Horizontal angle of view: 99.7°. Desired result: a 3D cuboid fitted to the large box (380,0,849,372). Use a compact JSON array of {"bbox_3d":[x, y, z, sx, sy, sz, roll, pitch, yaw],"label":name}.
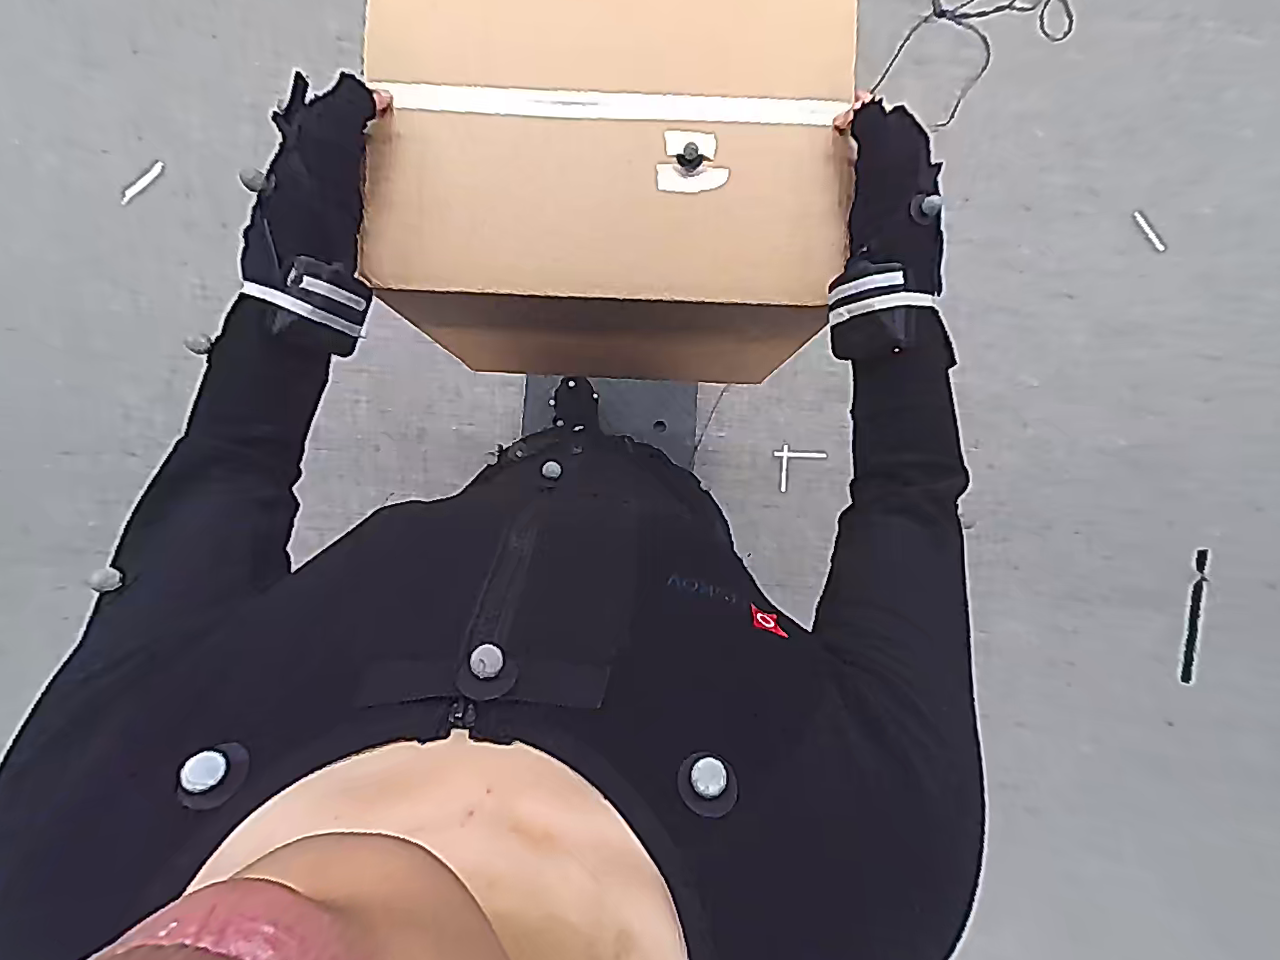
[{"bbox_3d":[-0.023,-0.311,0.612,0.408,0.320,0.320,2,89,-1],"label":"large box"}]
